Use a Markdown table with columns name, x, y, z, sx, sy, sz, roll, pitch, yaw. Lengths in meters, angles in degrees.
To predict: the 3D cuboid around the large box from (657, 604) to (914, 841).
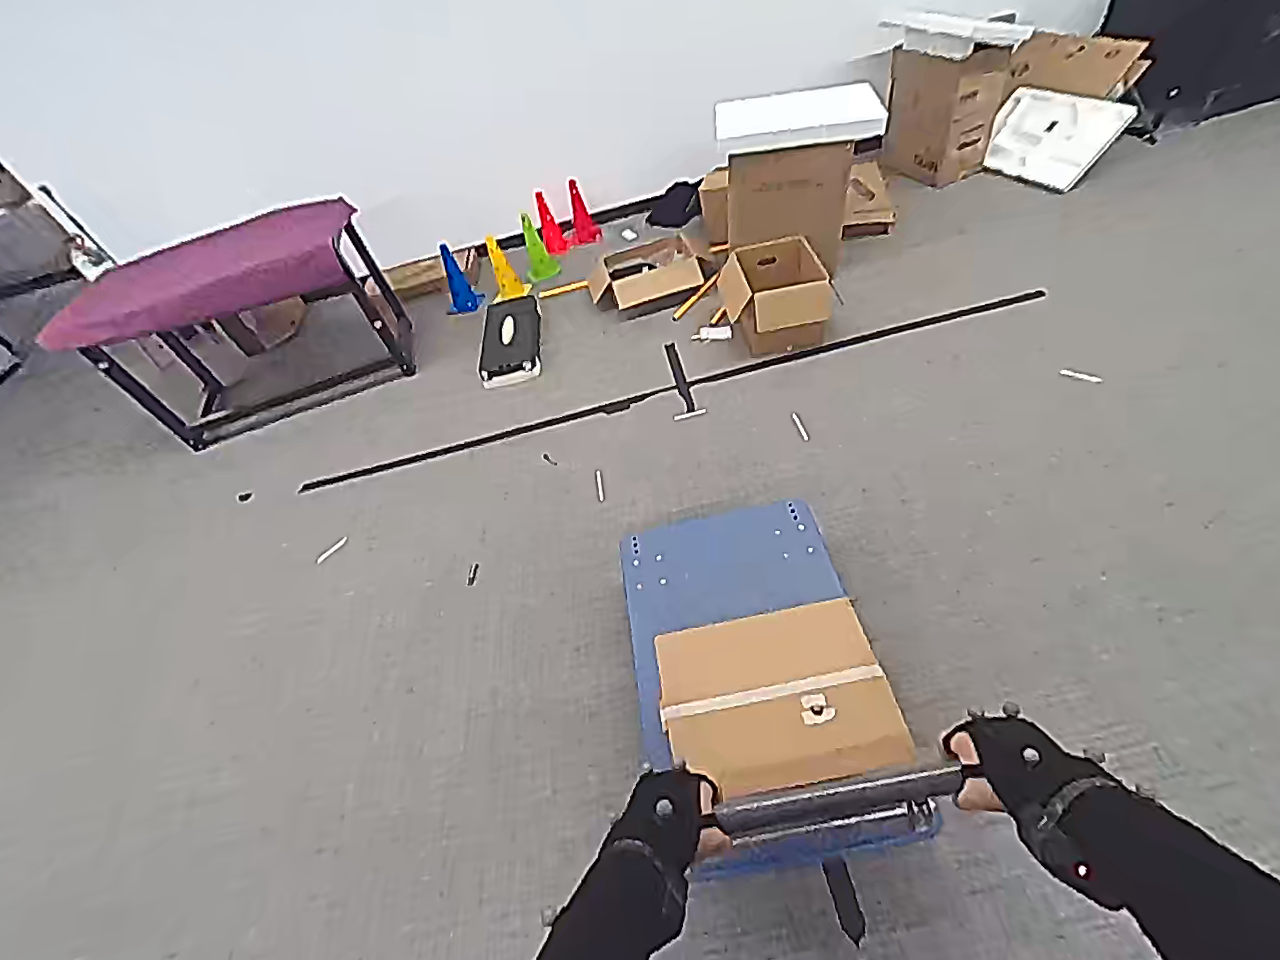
| name | x | y | z | sx | sy | sz | roll | pitch | yaw |
| --- | --- | --- | --- | --- | --- | --- | --- | --- | --- |
| large box | 0.271 | 0.505 | 1.116 | 0.408 | 0.320 | 0.320 | -12 | 48 | 2 |
